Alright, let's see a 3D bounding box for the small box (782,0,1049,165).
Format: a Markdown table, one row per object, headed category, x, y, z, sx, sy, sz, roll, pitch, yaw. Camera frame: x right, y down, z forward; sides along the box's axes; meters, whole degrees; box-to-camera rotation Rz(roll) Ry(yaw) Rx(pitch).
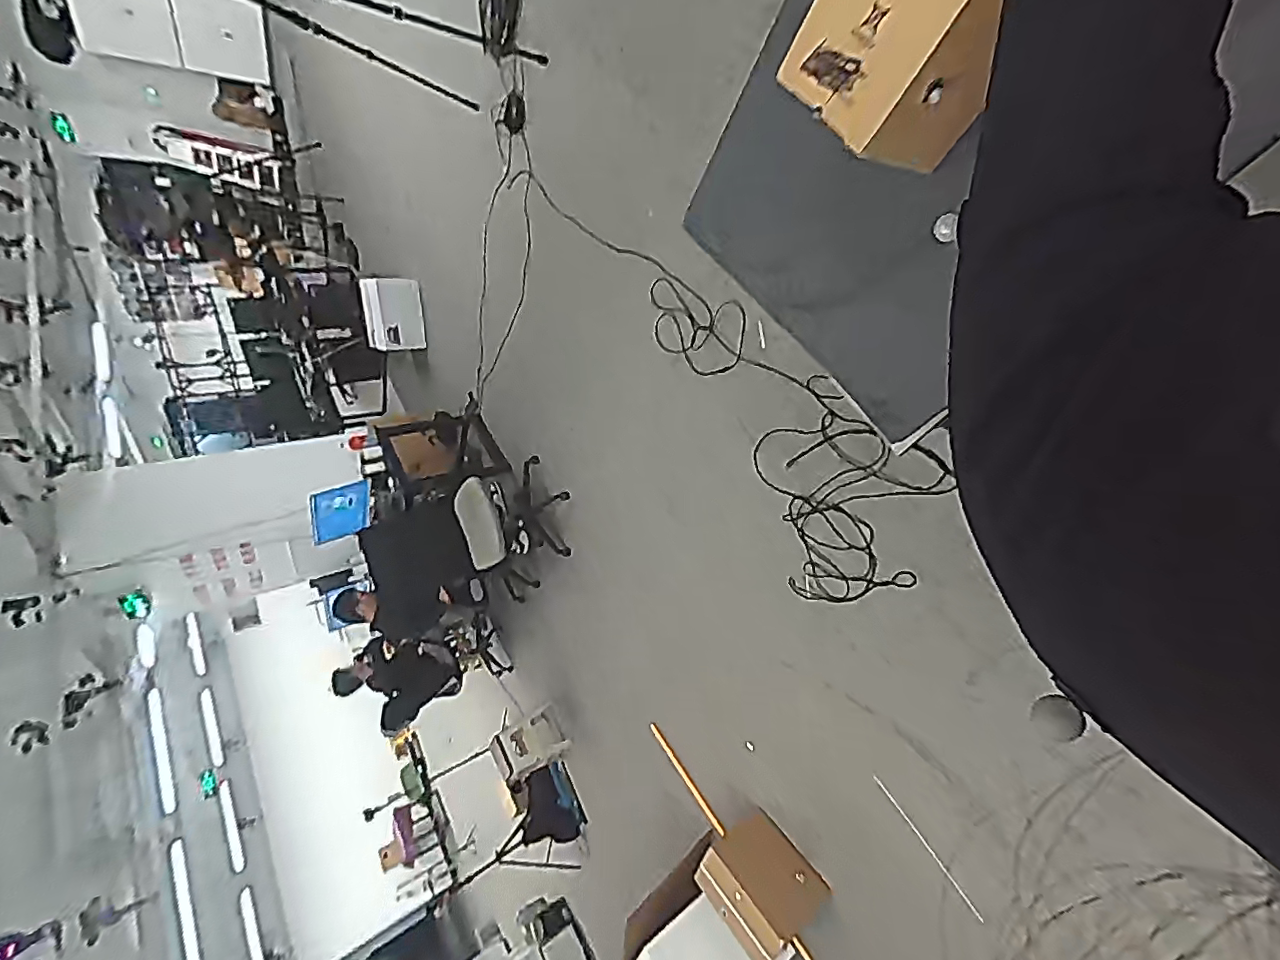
| category | x | y | z | sx | sy | sz | roll | pitch | yaw |
| --- | --- | --- | --- | --- | --- | --- | --- | --- | --- |
| small box | 0.305 | -0.491 | 0.611 | 0.168 | 0.176 | 0.179 | 58 | 140 | 21 |
